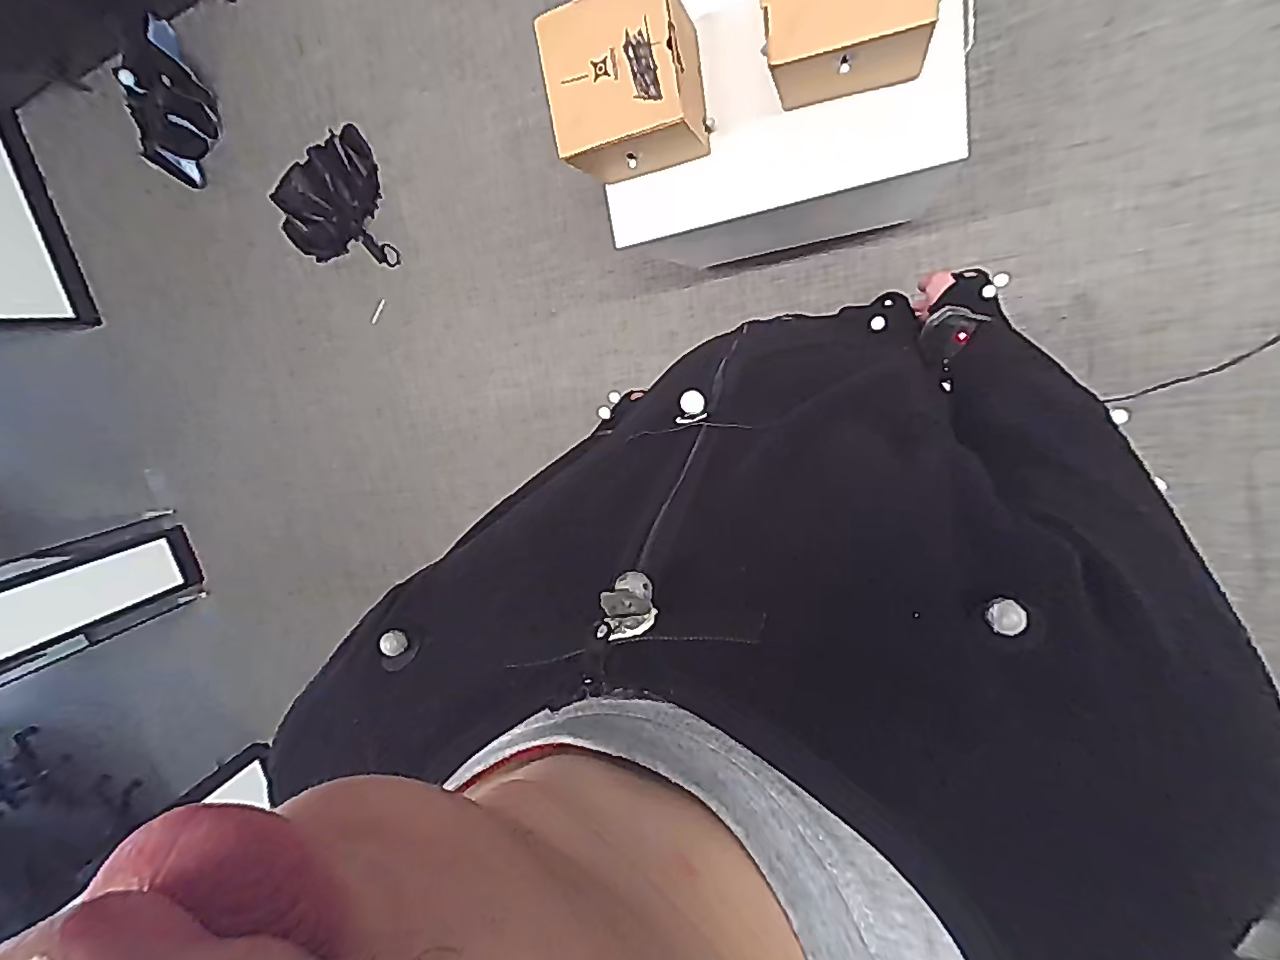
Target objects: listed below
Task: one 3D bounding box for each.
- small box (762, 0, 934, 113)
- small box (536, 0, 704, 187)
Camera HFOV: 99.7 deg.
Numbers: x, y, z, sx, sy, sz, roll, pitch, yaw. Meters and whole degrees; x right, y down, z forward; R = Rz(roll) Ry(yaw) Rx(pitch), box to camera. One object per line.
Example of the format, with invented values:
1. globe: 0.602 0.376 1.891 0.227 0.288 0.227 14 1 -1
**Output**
1. small box: 0.244 -0.568 0.642 0.179 0.176 0.168 -1 107 21
2. small box: -0.015 -0.529 0.750 0.179 0.176 0.168 -4 104 22
